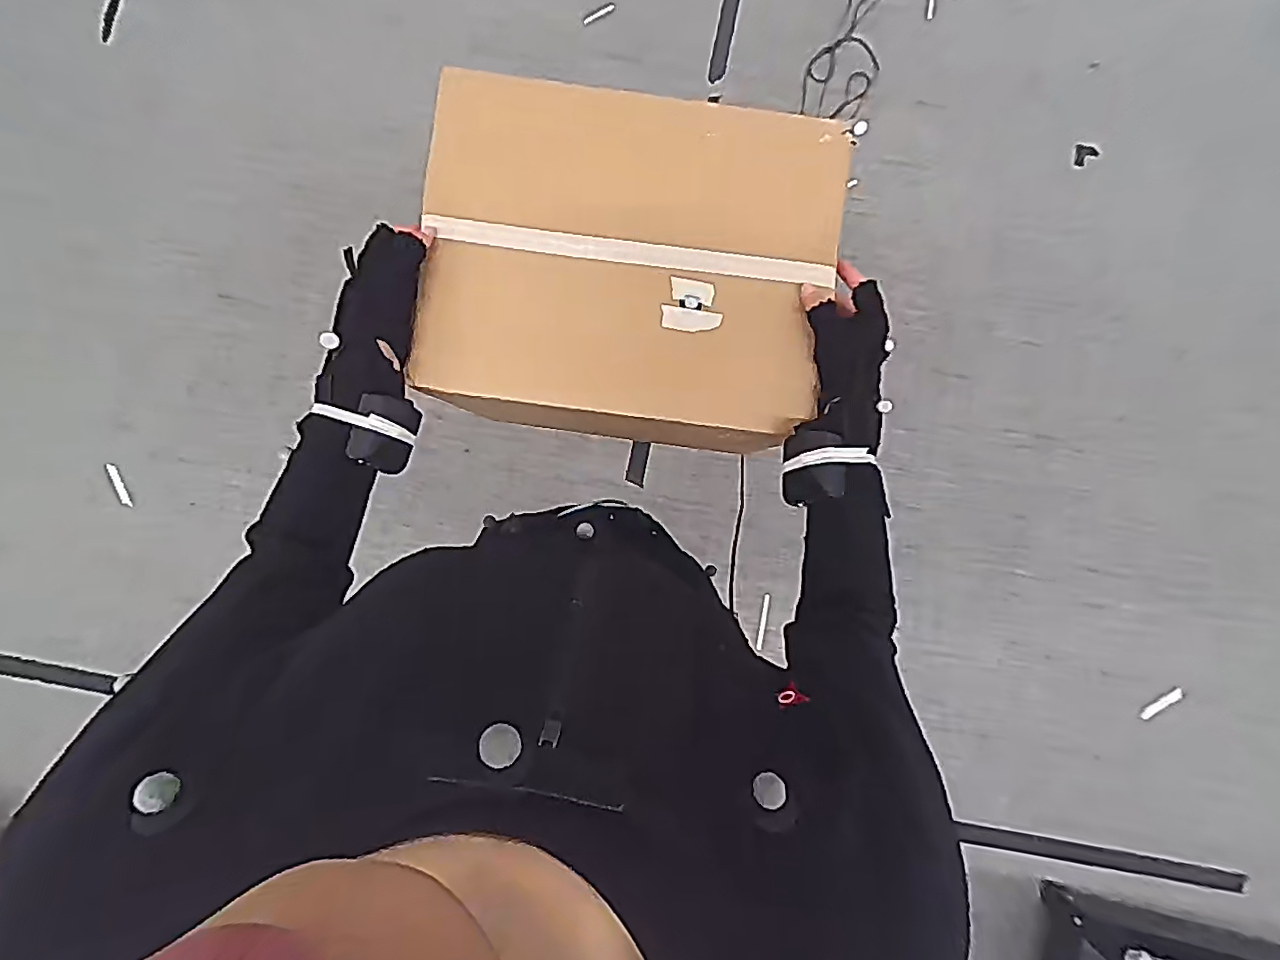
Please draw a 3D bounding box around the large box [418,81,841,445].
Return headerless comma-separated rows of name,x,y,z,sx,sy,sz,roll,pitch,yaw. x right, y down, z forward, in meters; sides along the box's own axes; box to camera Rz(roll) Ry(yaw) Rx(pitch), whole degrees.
large box,-0.014,-0.227,0.692,0.408,0.320,0.320,7,91,-1
